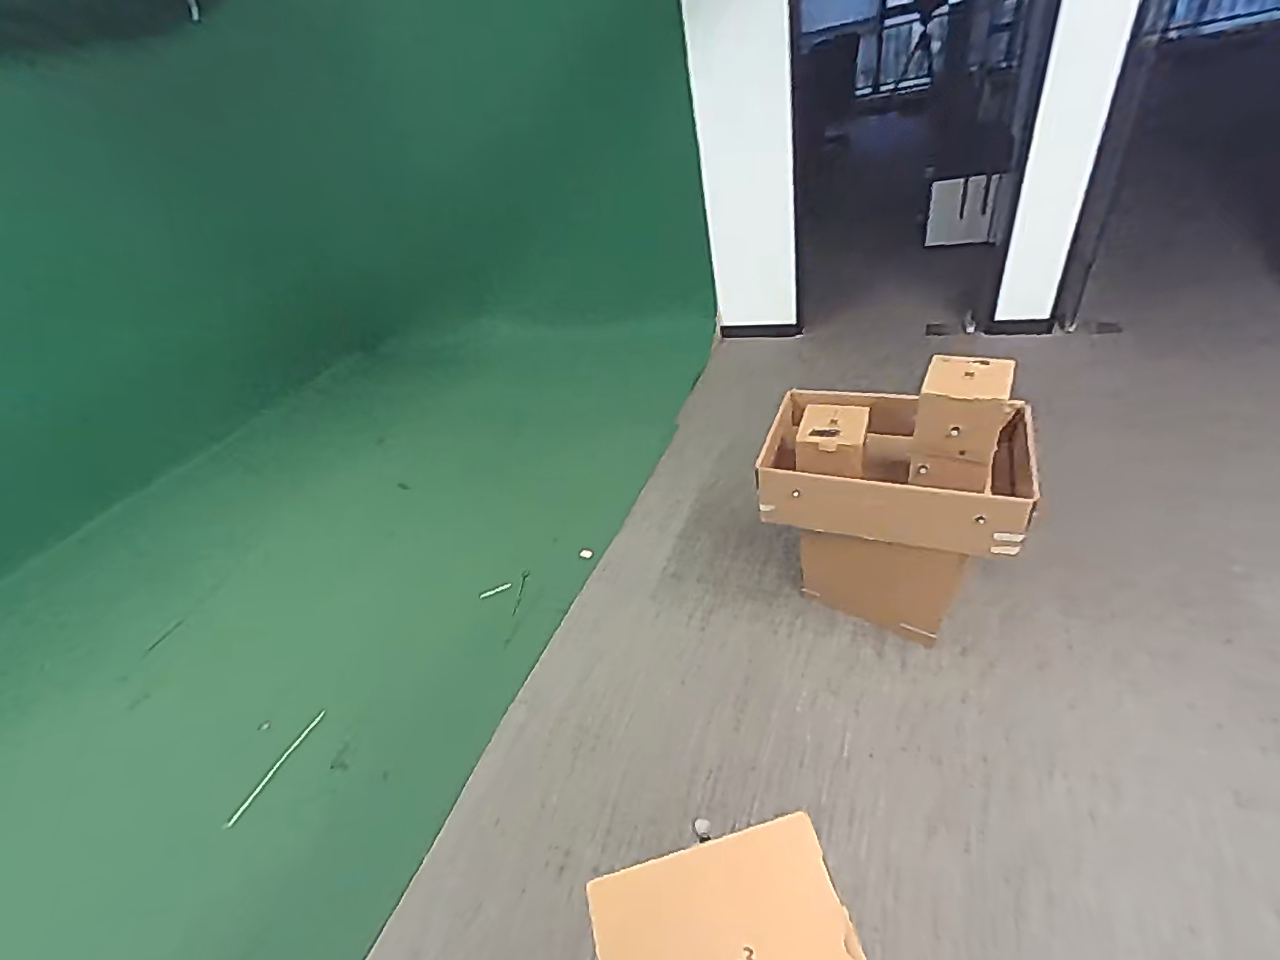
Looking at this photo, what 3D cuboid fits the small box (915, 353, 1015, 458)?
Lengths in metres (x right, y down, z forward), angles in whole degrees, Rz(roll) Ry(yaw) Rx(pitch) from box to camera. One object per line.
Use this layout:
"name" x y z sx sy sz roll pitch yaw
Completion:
"small box" 0.740 -0.172 1.241 0.168 0.176 0.179 12 47 31

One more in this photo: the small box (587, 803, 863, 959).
"small box" 0.069 0.378 0.426 0.179 0.176 0.168 -14 54 -5
